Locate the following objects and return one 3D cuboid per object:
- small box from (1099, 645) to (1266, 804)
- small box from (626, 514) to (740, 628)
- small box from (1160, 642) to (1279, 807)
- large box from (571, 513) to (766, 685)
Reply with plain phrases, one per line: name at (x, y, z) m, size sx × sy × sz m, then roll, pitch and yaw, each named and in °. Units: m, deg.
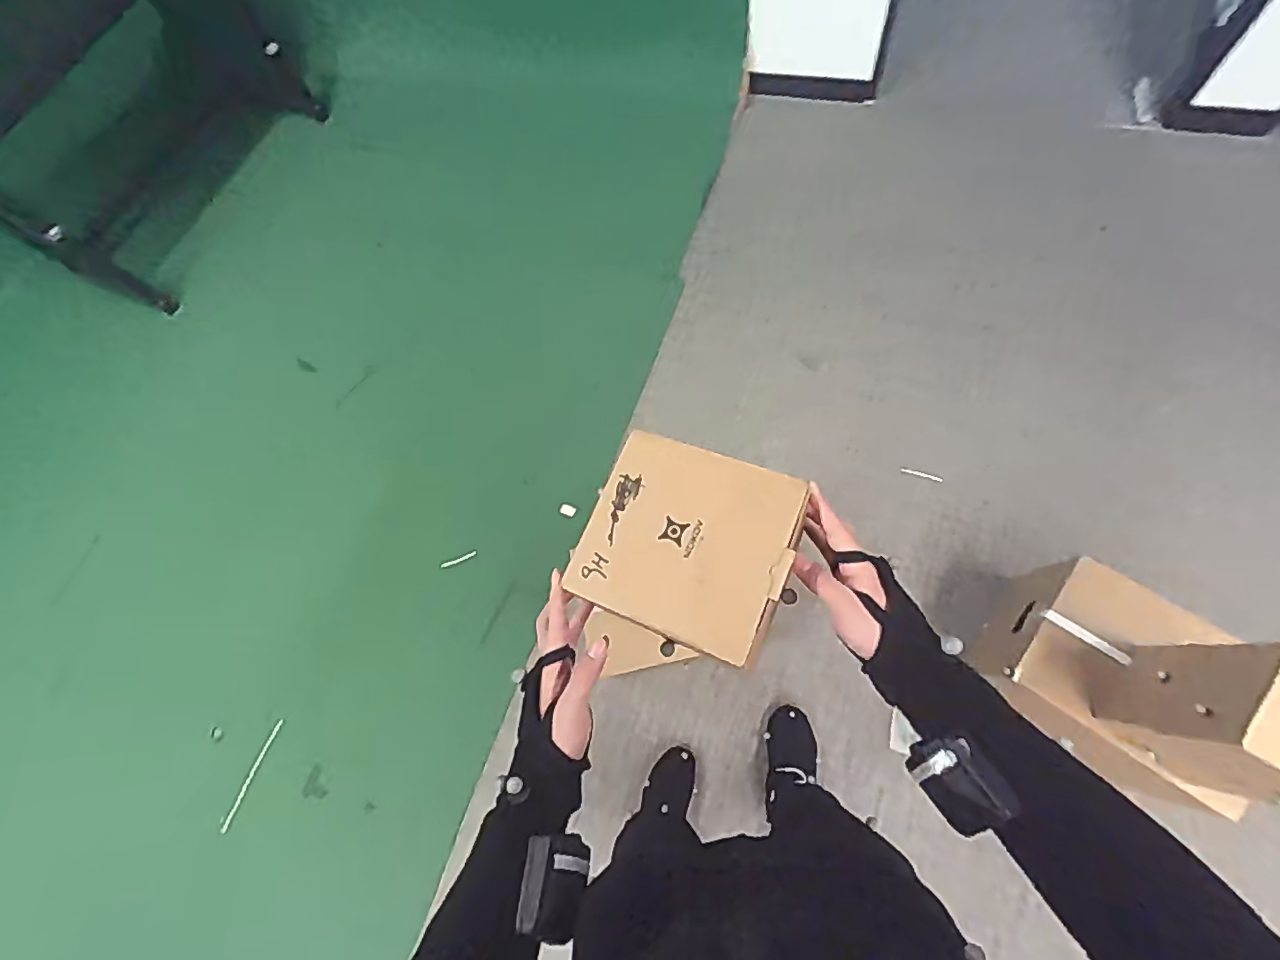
small box at (0.959, 0.408, 0.935) m, size 0.168 × 0.176 × 0.179 m, roll 37°, pitch 82°, yaw 20°
small box at (0.082, 0.174, 0.997) m, size 0.179 × 0.176 × 0.168 m, roll -11°, pitch 68°, yaw 6°
small box at (0.925, 0.359, 0.783) m, size 0.168 × 0.176 × 0.179 m, roll 35°, pitch 80°, yaw 19°
large box at (0.080, 0.318, 1.388) m, size 0.408 × 0.320 × 0.320 m, roll -16°, pitch 67°, yaw 5°
